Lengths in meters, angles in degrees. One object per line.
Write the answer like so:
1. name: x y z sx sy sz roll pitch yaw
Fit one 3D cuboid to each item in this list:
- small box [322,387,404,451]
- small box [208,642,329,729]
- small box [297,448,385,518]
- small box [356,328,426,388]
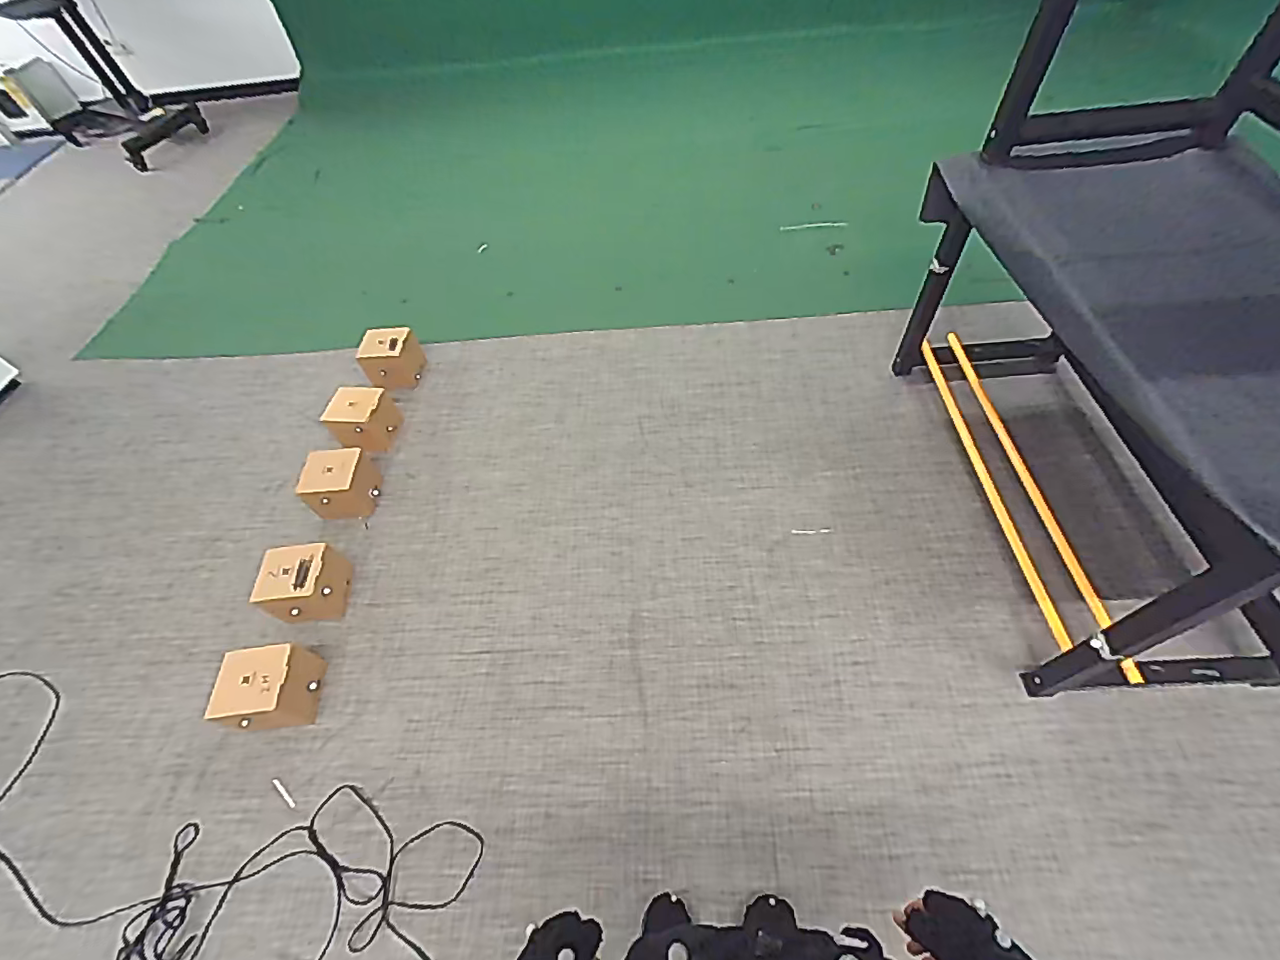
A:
1. small box: -0.991 -0.218 1.951 0.179 0.176 0.168 2 55 7
2. small box: -0.955 0.539 1.406 0.179 0.176 0.168 -8 55 0
3. small box: -0.979 0.014 1.784 0.179 0.176 0.168 -4 56 0
4. small box: -0.973 -0.478 2.135 0.179 0.176 0.168 -2 54 5
